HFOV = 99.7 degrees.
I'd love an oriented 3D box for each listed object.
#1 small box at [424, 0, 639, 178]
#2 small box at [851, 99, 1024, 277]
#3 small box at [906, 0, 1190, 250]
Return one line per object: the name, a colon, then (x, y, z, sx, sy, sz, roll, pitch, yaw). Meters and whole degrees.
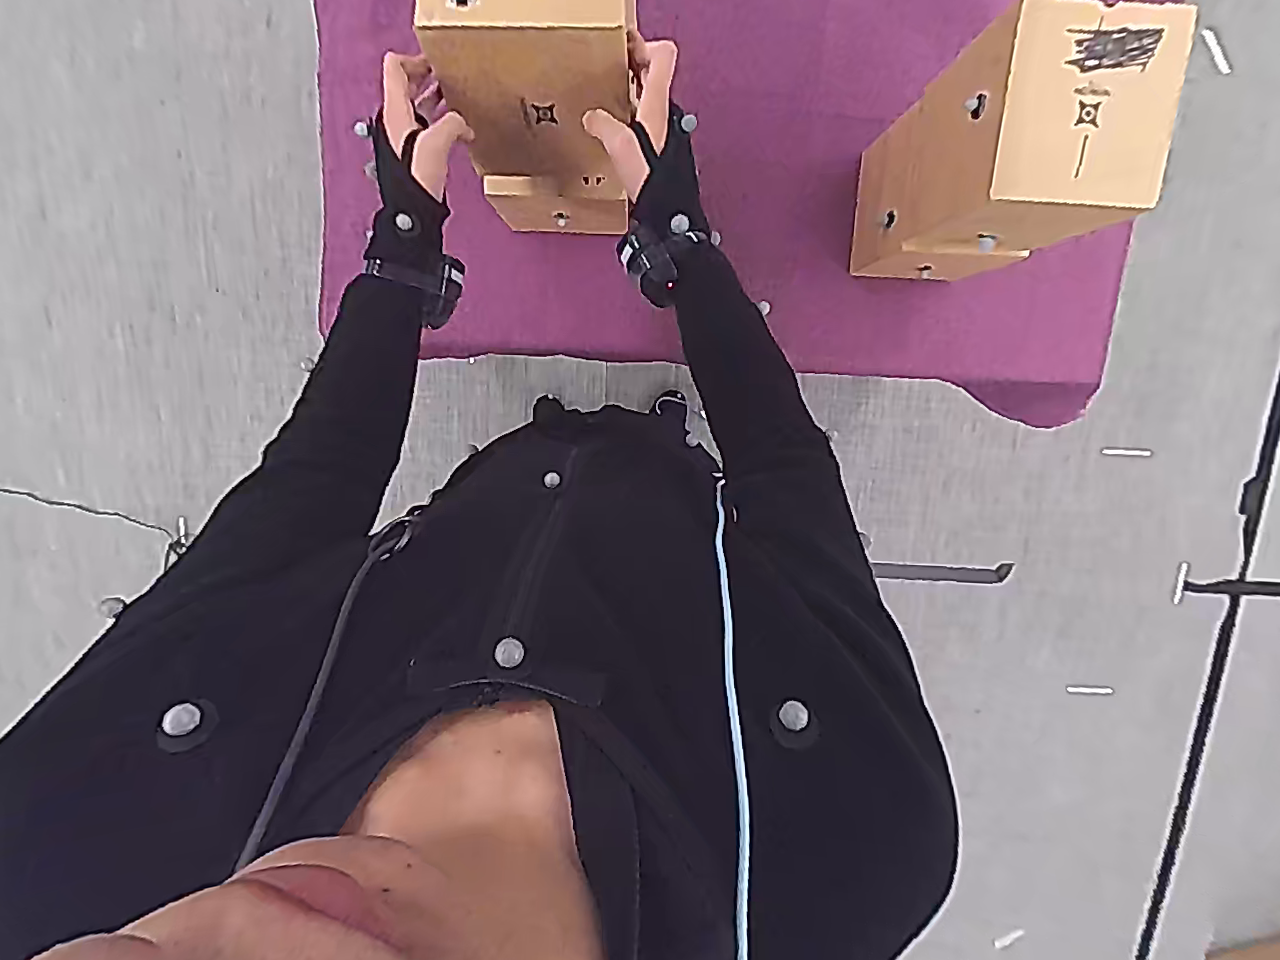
small box: (-0.090, -0.430, 0.531, 0.179, 0.168, 0.176, 2, 81, 2)
small box: (0.410, -0.387, 0.749, 0.168, 0.176, 0.179, 3, 101, -2)
small box: (0.416, -0.365, 0.586, 0.168, 0.176, 0.179, 3, 101, -2)
